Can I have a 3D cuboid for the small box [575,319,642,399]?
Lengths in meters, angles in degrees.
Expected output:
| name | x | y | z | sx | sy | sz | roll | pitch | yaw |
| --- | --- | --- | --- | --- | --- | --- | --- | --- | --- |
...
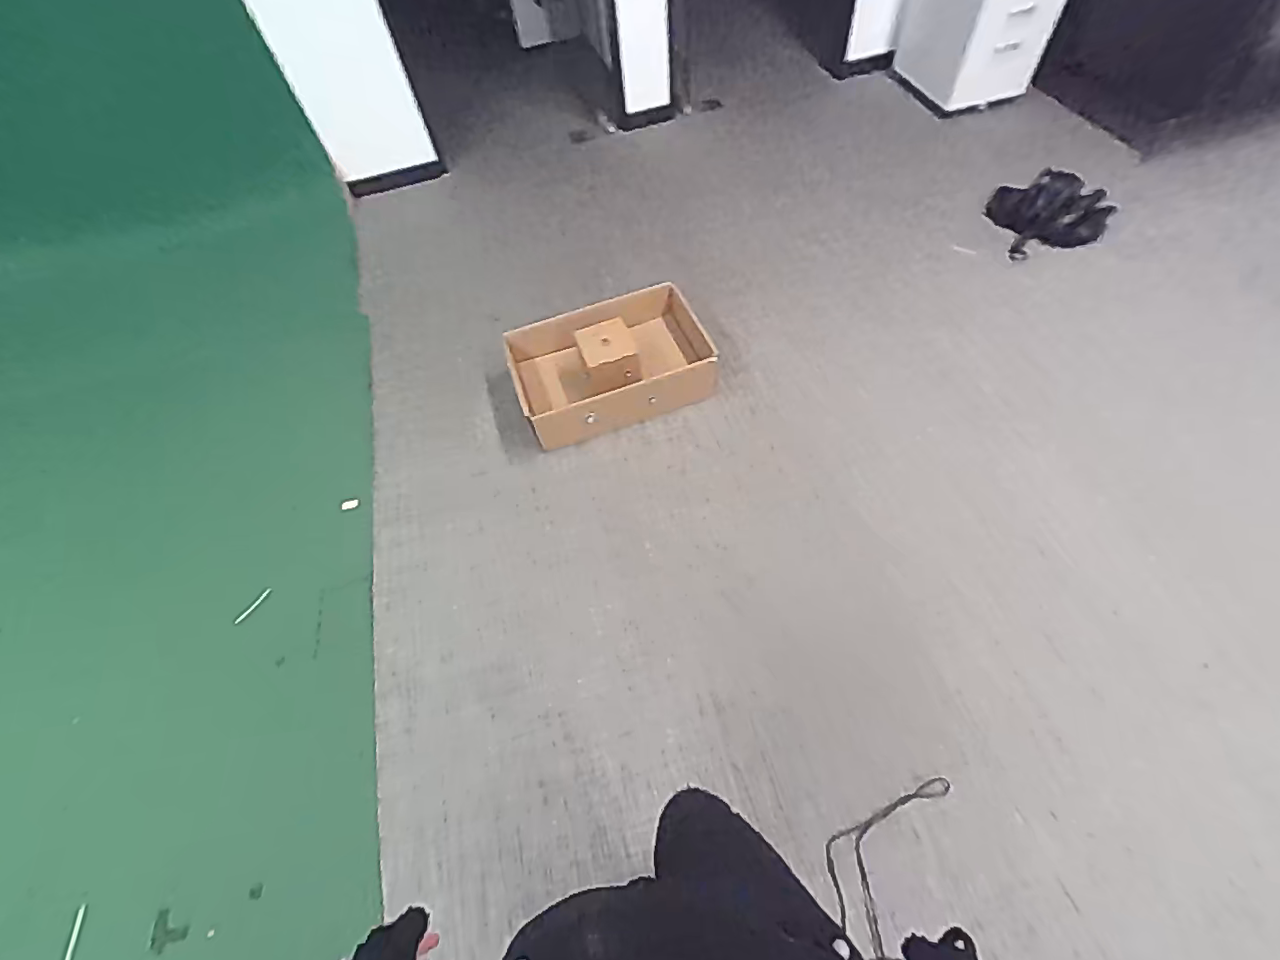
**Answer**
| name | x | y | z | sx | sy | sz | roll | pitch | yaw |
| --- | --- | --- | --- | --- | --- | --- | --- | --- | --- |
| small box | -0.098 | -0.387 | 1.765 | 0.168 | 0.176 | 0.179 | -19 | 56 | -8 |
